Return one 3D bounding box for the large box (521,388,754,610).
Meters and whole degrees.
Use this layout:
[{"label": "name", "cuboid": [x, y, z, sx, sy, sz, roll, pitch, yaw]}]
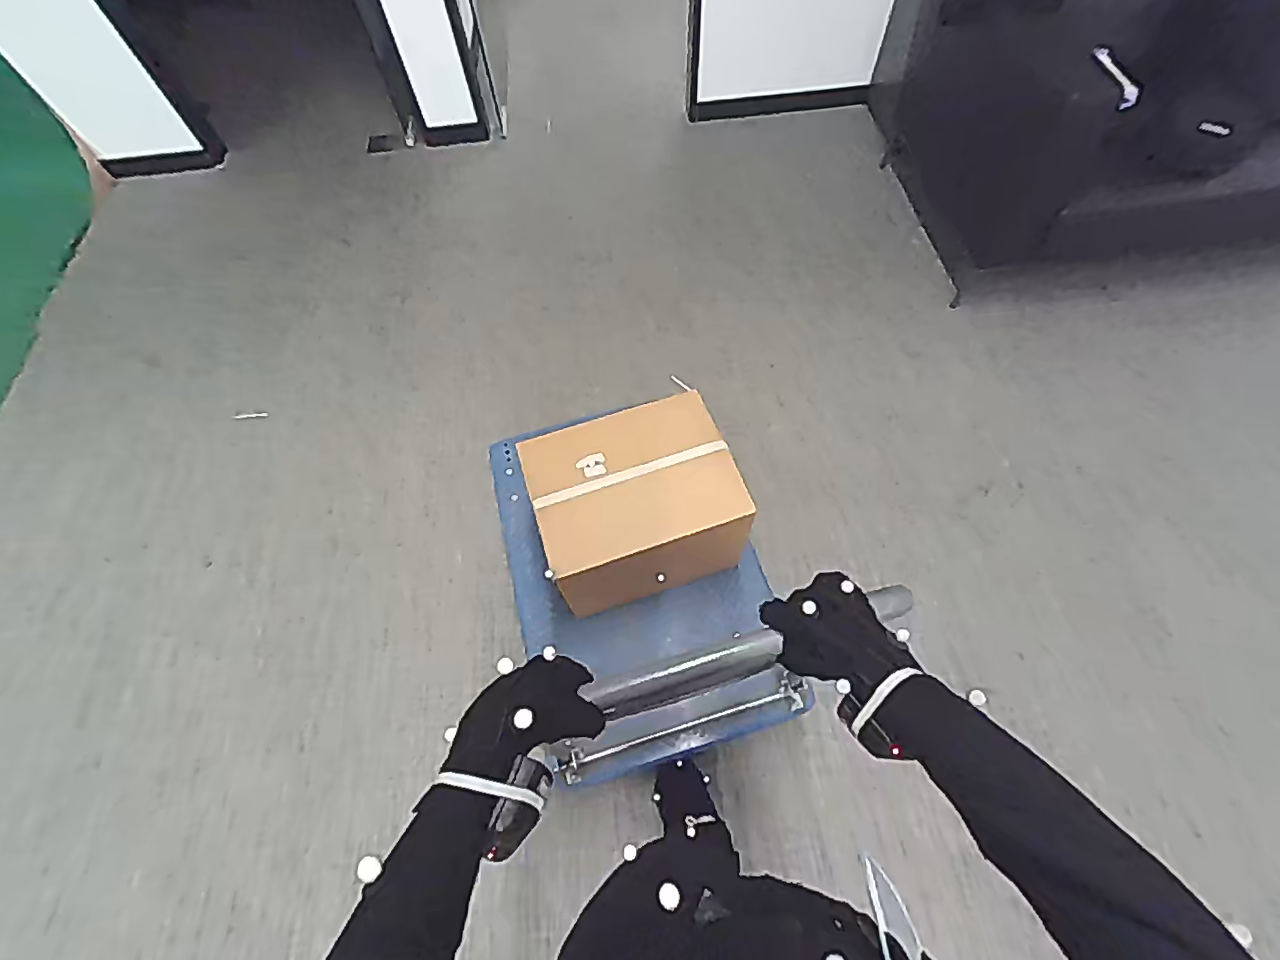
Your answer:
[{"label": "large box", "cuboid": [-0.006, 0.054, 1.221, 0.408, 0.320, 0.320, -19, 63, -6]}]
